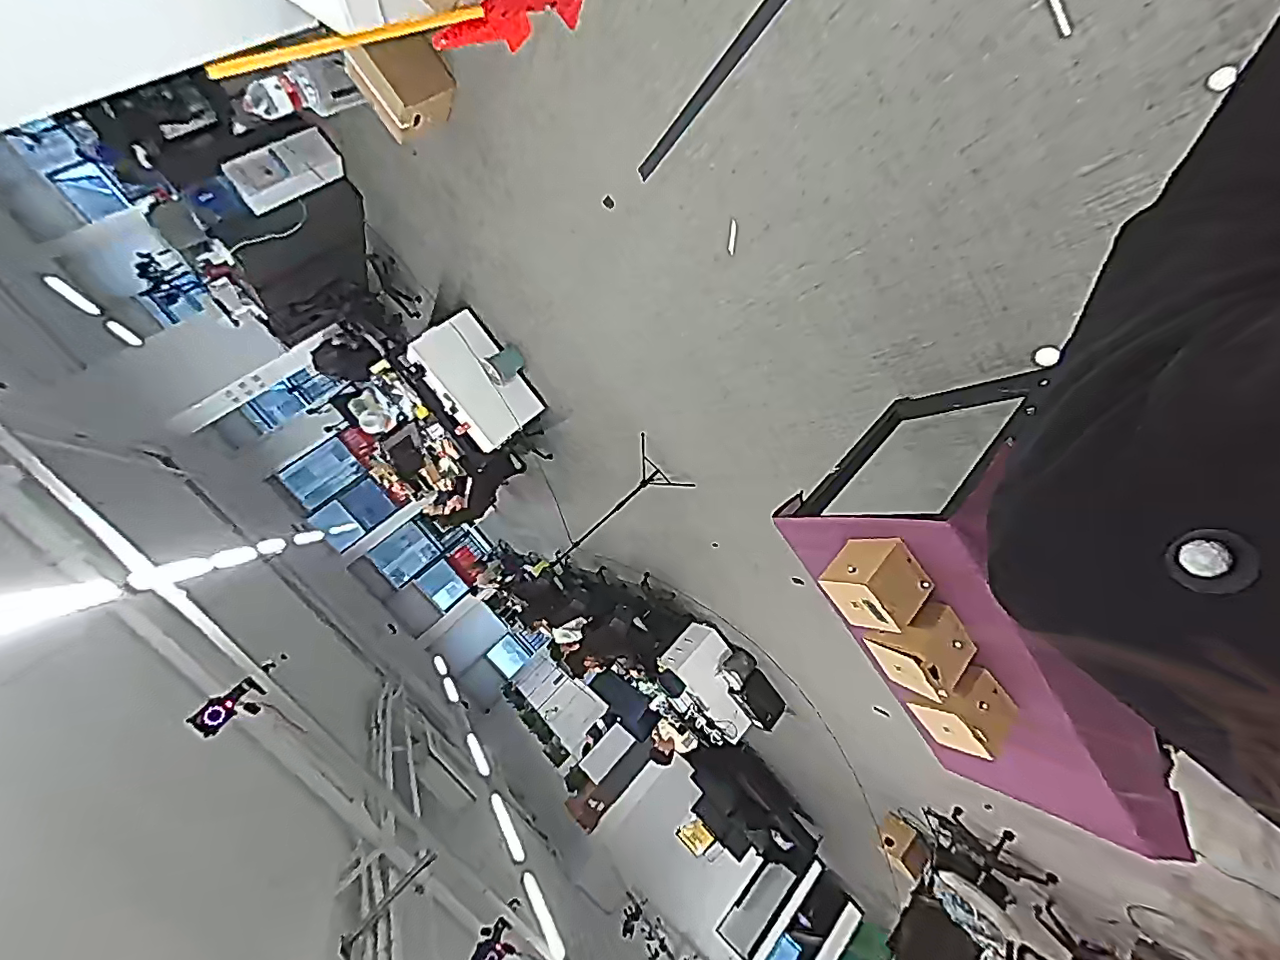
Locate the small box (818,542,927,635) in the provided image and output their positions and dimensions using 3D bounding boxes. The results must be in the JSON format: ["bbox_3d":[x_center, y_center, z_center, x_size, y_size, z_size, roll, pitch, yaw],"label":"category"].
[{"bbox_3d":[0.612,0.274,1.407,0.168,0.176,0.179,51,159,-9],"label":"small box"}]

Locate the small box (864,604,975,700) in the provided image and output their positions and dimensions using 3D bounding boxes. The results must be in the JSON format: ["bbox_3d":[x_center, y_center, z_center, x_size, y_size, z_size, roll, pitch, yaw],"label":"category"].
[{"bbox_3d":[0.746,0.444,1.446,0.168,0.176,0.179,53,157,-14],"label":"small box"}]

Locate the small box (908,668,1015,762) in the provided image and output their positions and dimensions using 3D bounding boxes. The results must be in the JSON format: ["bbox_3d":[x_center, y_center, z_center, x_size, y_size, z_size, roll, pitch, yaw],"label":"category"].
[{"bbox_3d":[0.895,0.634,1.498,0.168,0.176,0.179,50,158,-5],"label":"small box"}]
